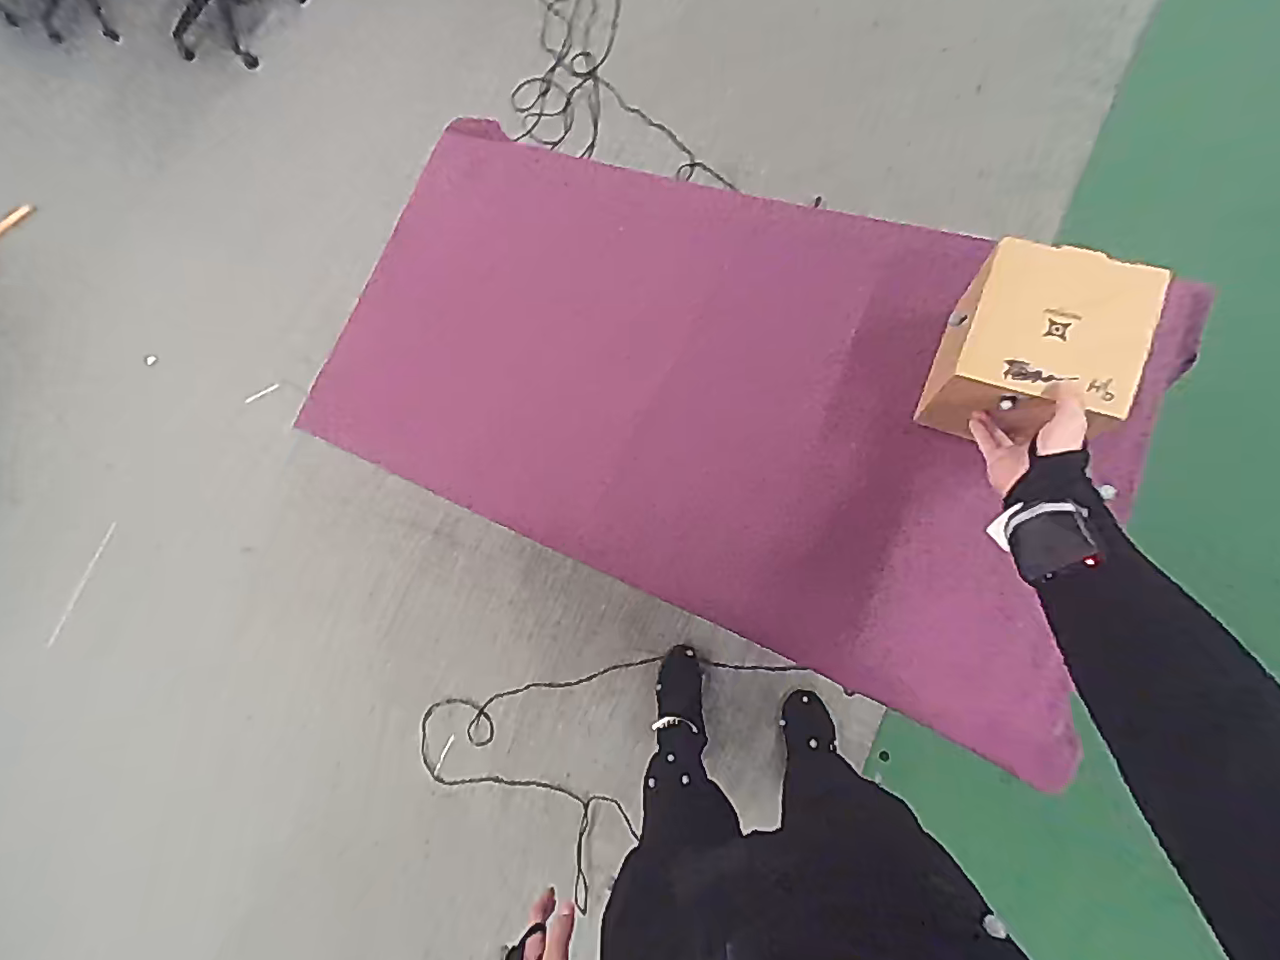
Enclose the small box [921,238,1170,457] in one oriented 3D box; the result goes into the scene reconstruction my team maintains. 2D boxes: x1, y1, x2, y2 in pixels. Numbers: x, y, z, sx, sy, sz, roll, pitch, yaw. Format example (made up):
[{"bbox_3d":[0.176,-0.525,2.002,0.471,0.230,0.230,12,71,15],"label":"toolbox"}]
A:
[{"bbox_3d":[0.465,-0.149,0.650,0.168,0.176,0.179,21,83,17],"label":"small box"}]
